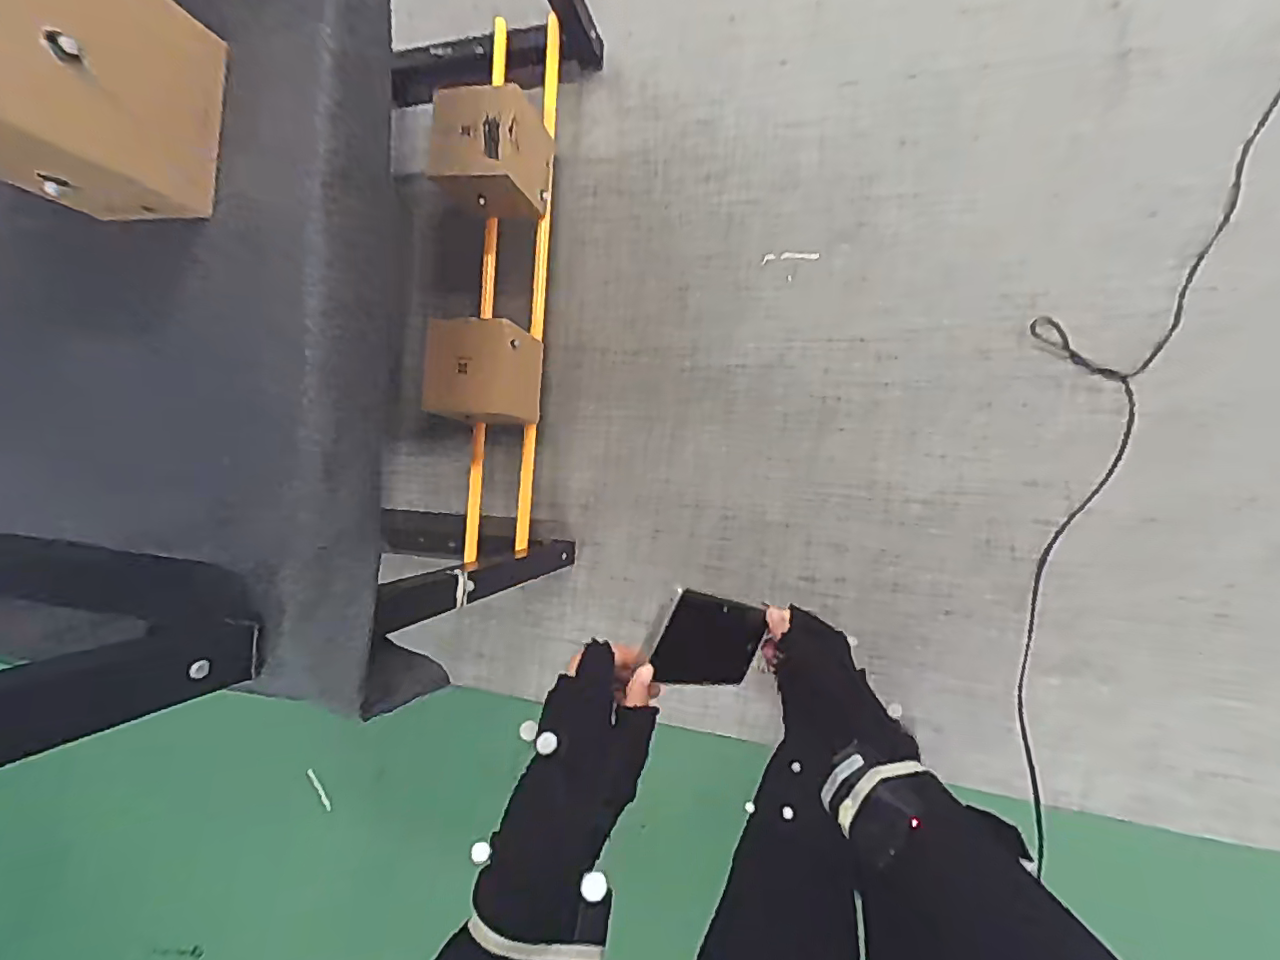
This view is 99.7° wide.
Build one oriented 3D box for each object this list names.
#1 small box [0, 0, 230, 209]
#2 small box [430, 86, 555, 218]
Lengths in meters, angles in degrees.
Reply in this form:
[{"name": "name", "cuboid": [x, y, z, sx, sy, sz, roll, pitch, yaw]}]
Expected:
[{"name": "small box", "cuboid": [-0.514, -0.366, 0.487, 0.168, 0.176, 0.179, 7, 91, 15]}, {"name": "small box", "cuboid": [-0.285, -0.641, 1.074, 0.179, 0.176, 0.168, 7, 91, 15]}]
